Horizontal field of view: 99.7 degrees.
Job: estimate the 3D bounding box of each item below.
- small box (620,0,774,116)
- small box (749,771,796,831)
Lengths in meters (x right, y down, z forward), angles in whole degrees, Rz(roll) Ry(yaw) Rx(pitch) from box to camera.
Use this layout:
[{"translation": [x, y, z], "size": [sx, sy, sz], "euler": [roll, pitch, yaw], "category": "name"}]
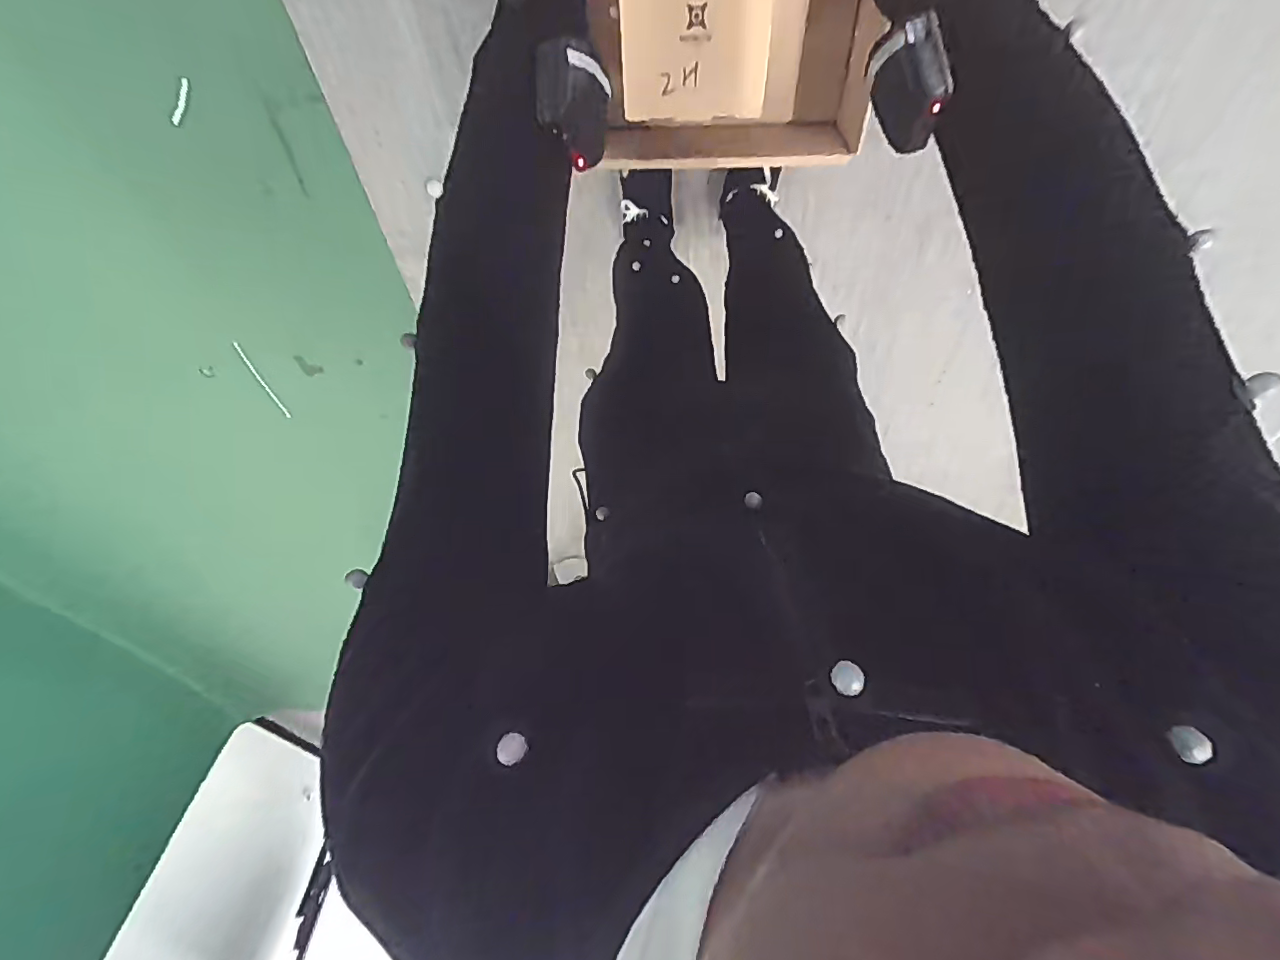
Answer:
[{"translation": [0.066, -0.552, 0.636], "size": [0.168, 0.176, 0.179], "euler": [3, 137, 5], "category": "small box"}, {"translation": [0.514, 1.253, 2.114], "size": [0.168, 0.176, 0.179], "euler": [-1, 138, 10], "category": "small box"}]
